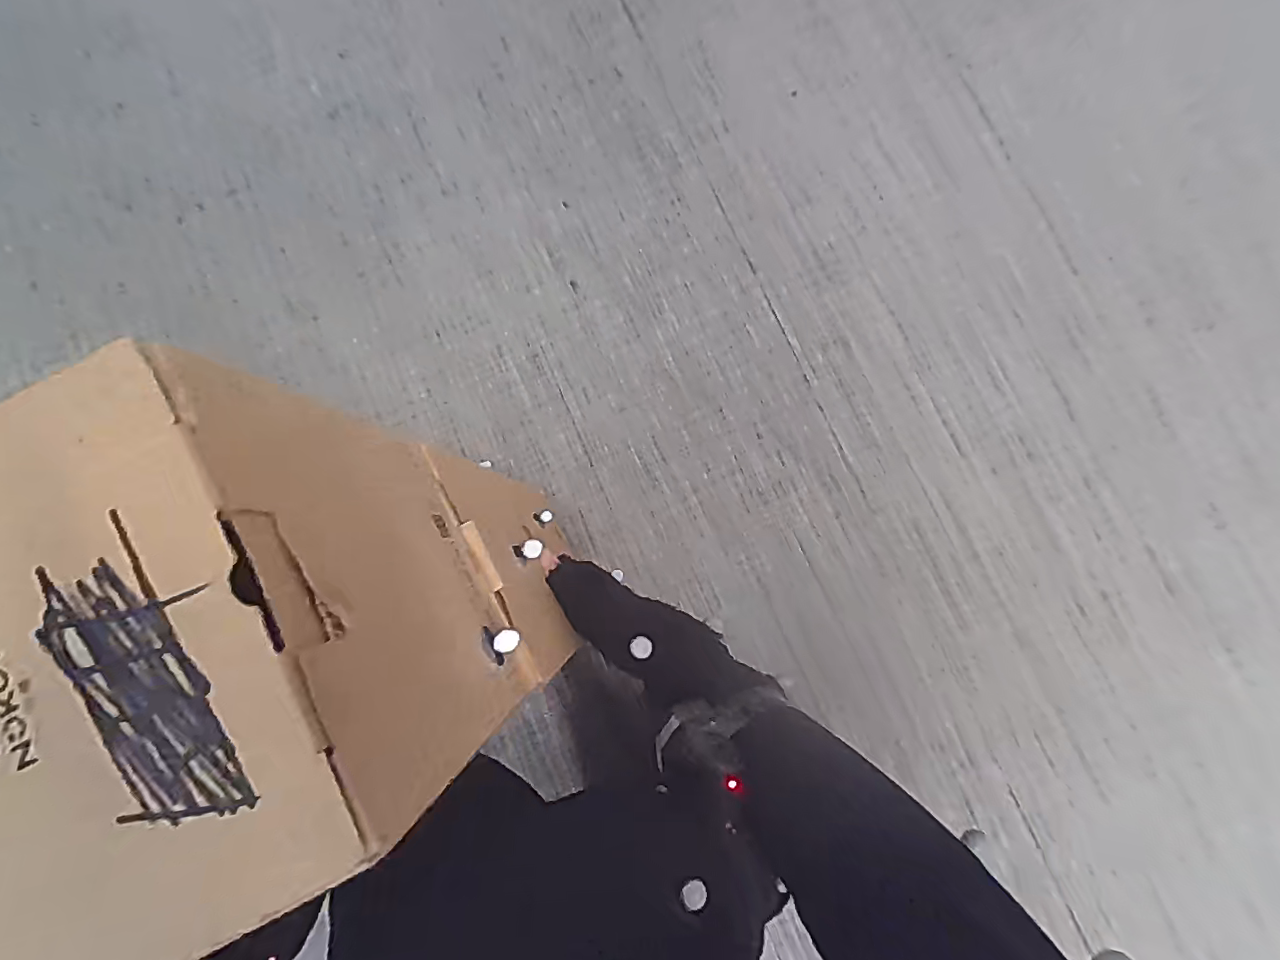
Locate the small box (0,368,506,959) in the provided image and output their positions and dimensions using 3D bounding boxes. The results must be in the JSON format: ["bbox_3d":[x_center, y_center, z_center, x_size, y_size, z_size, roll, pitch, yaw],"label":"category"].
[{"bbox_3d":[-0.176,0.084,0.232,0.179,0.176,0.168,-31,83,-1],"label":"small box"}]

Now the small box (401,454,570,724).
[{"bbox_3d":[-0.164,0.102,0.394,0.179,0.176,0.168,-28,81,0],"label":"small box"}]

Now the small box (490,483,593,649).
[{"bbox_3d":[-0.160,0.118,0.558,0.179,0.176,0.168,-29,82,2],"label":"small box"}]
